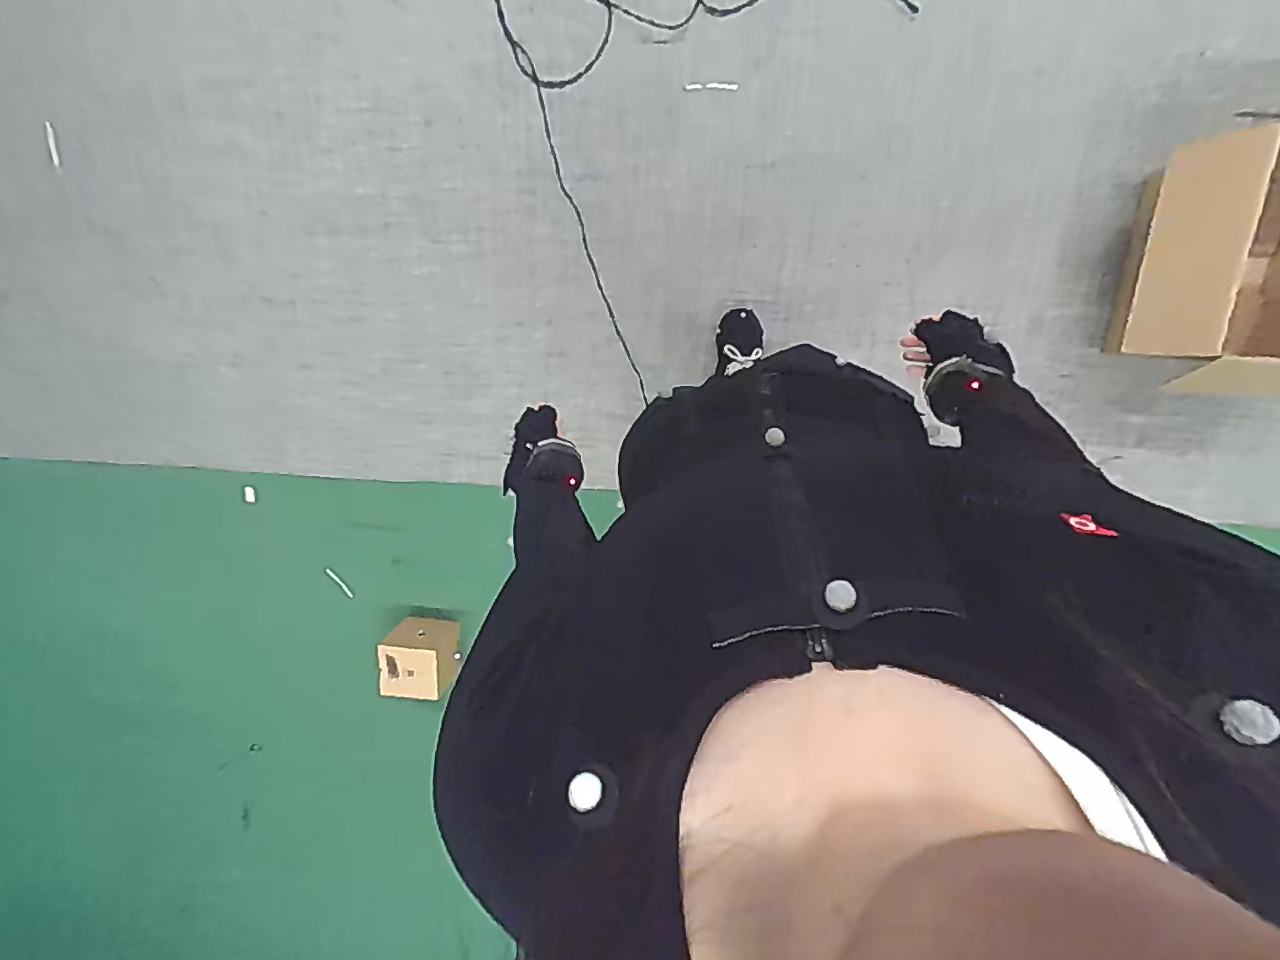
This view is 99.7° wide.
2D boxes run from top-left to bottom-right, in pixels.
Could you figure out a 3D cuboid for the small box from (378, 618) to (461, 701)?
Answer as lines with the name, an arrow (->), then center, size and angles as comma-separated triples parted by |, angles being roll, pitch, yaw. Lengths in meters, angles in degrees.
small box -> -0.653, 0.530, 1.616 | 0.179, 0.176, 0.168 | 5, 105, 4
